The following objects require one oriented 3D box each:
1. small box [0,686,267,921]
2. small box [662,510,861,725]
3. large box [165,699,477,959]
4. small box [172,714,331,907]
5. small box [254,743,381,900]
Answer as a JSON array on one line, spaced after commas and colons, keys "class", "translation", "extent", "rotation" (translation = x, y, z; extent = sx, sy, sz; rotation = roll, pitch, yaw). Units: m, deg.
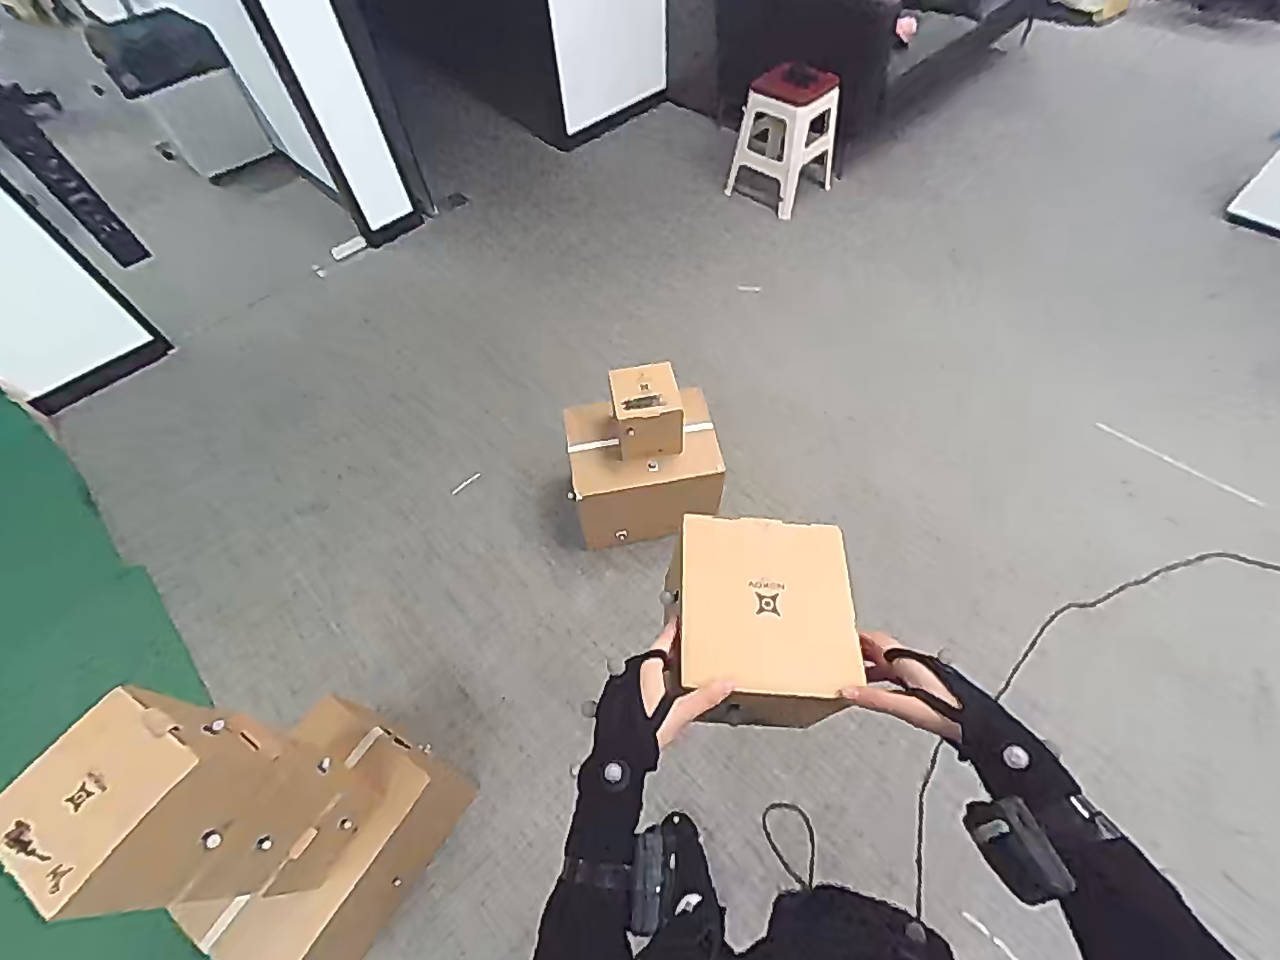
[{"class": "small box", "translation": [-0.614, 0.396, 0.673], "extent": [0.168, 0.176, 0.179], "rotation": [26, 60, 19]}, {"class": "small box", "translation": [0.113, 0.153, 0.577], "extent": [0.168, 0.176, 0.179], "rotation": [4, 55, 0]}, {"class": "large box", "translation": [-0.618, 0.745, 1.129], "extent": [0.320, 0.320, 0.408], "rotation": [25, 62, 20]}, {"class": "small box", "translation": [-0.603, 0.487, 0.809], "extent": [0.168, 0.176, 0.179], "rotation": [25, 61, 18]}, {"class": "small box", "translation": [-0.596, 0.583, 0.942], "extent": [0.179, 0.176, 0.168], "rotation": [26, 61, 19]}]
